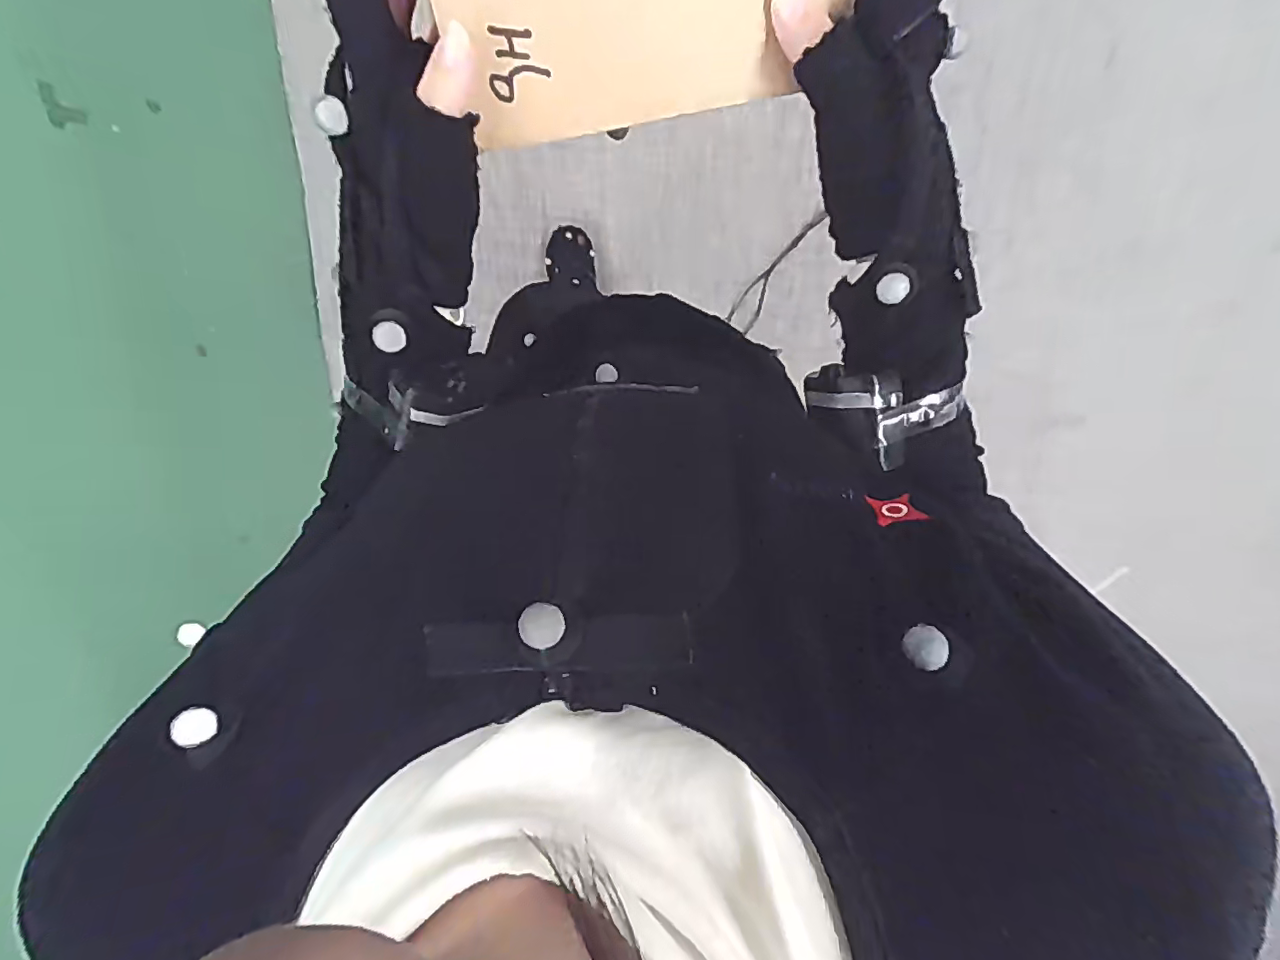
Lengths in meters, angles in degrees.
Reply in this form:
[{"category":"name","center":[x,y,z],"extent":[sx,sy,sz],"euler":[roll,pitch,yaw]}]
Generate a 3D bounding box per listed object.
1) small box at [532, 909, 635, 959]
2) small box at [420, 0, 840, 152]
[{"category":"small box","center":[-0.099,0.875,0.925],"extent":[0.179,0.176,0.168],"euler":[1,111,-4]},{"category":"small box","center":[-0.024,-0.275,0.252],"extent":[0.179,0.176,0.168],"euler":[-16,129,-3]}]
